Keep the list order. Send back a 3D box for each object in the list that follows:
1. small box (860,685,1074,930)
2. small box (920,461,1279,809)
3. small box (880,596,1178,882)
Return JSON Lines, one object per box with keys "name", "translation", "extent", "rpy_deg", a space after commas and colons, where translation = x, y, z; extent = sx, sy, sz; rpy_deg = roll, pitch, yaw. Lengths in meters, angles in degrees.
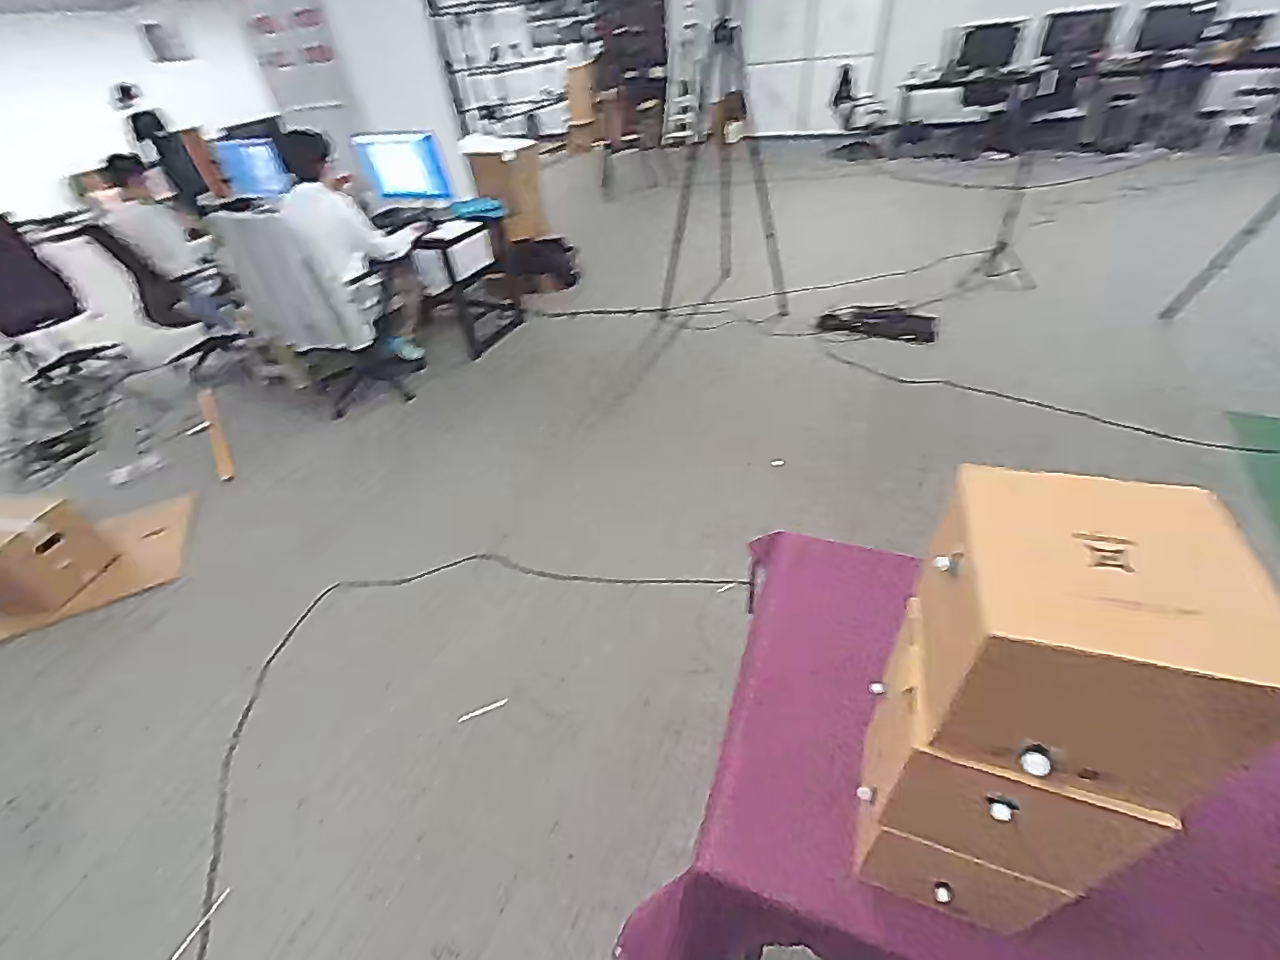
{"name": "small box", "translation": [0.356, 0.369, 0.620], "extent": [0.168, 0.176, 0.179], "rpy_deg": [11, 43, 20]}
{"name": "small box", "translation": [0.325, 0.112, 0.419], "extent": [0.168, 0.176, 0.179], "rpy_deg": [8, 42, 19]}
{"name": "small box", "translation": [0.338, 0.243, 0.515], "extent": [0.179, 0.176, 0.168], "rpy_deg": [11, 43, 20]}
